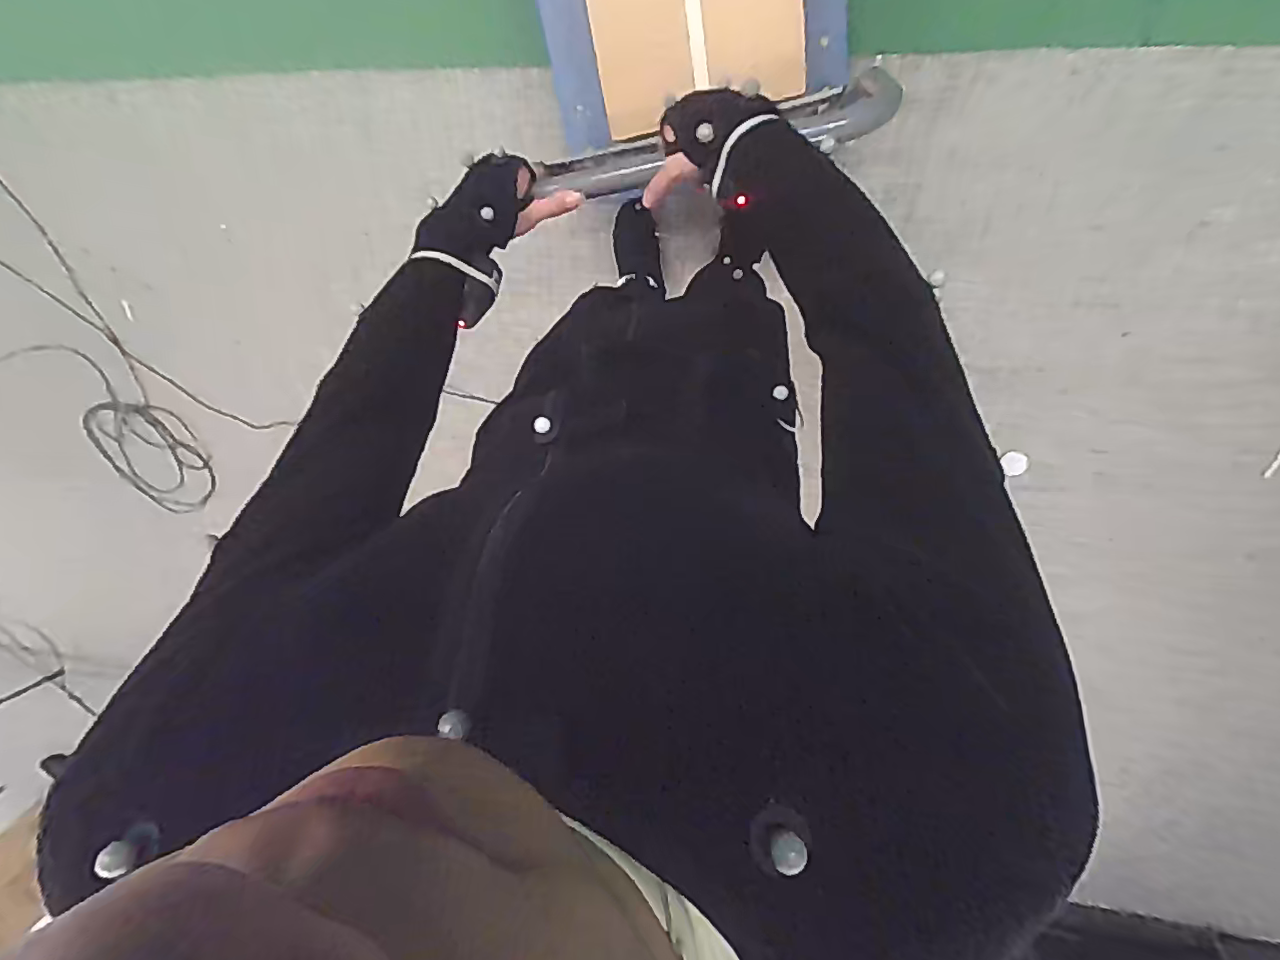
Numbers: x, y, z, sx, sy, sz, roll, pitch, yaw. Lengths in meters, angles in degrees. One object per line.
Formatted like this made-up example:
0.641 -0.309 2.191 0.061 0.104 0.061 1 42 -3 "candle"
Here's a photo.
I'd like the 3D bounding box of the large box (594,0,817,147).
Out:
0.106 -0.811 0.884 0.320 0.320 0.408 -5 119 14 "large box"
